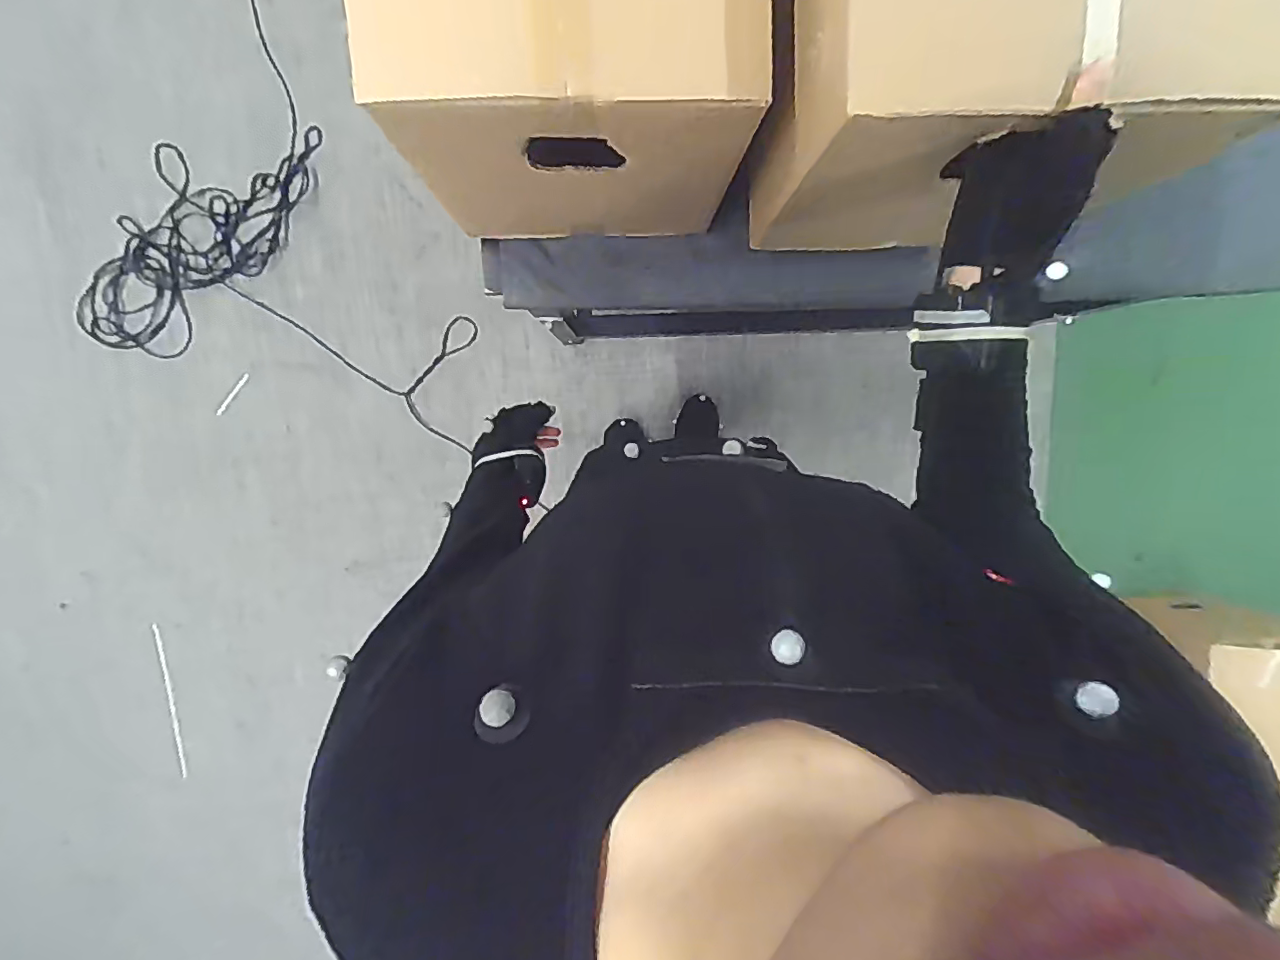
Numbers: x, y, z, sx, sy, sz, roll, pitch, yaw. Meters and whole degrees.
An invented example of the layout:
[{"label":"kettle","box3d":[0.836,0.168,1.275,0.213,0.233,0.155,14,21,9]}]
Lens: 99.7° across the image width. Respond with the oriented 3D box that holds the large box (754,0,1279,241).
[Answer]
[{"label":"large box","box3d":[0.281,-0.463,0.472,0.320,0.320,0.408,-1,99,2]}]
